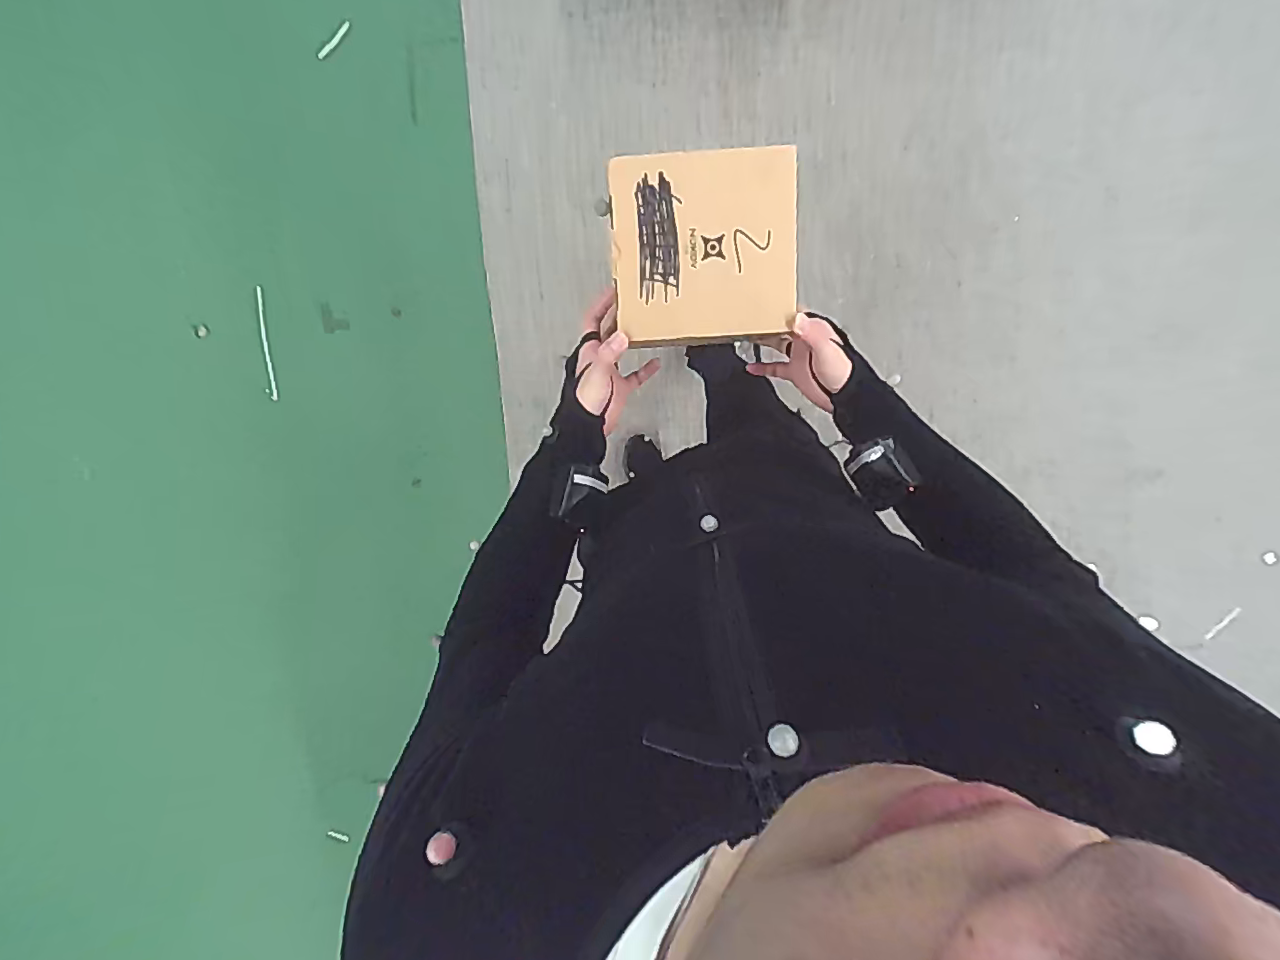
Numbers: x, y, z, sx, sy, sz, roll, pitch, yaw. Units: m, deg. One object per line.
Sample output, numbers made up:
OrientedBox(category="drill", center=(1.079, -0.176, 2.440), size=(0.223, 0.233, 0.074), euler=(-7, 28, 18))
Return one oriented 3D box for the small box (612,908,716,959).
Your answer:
OrientedBox(category="small box", center=(0.041, 0.900, 0.950), size=(0.179, 0.176, 0.168), euler=(6, 100, -2))
